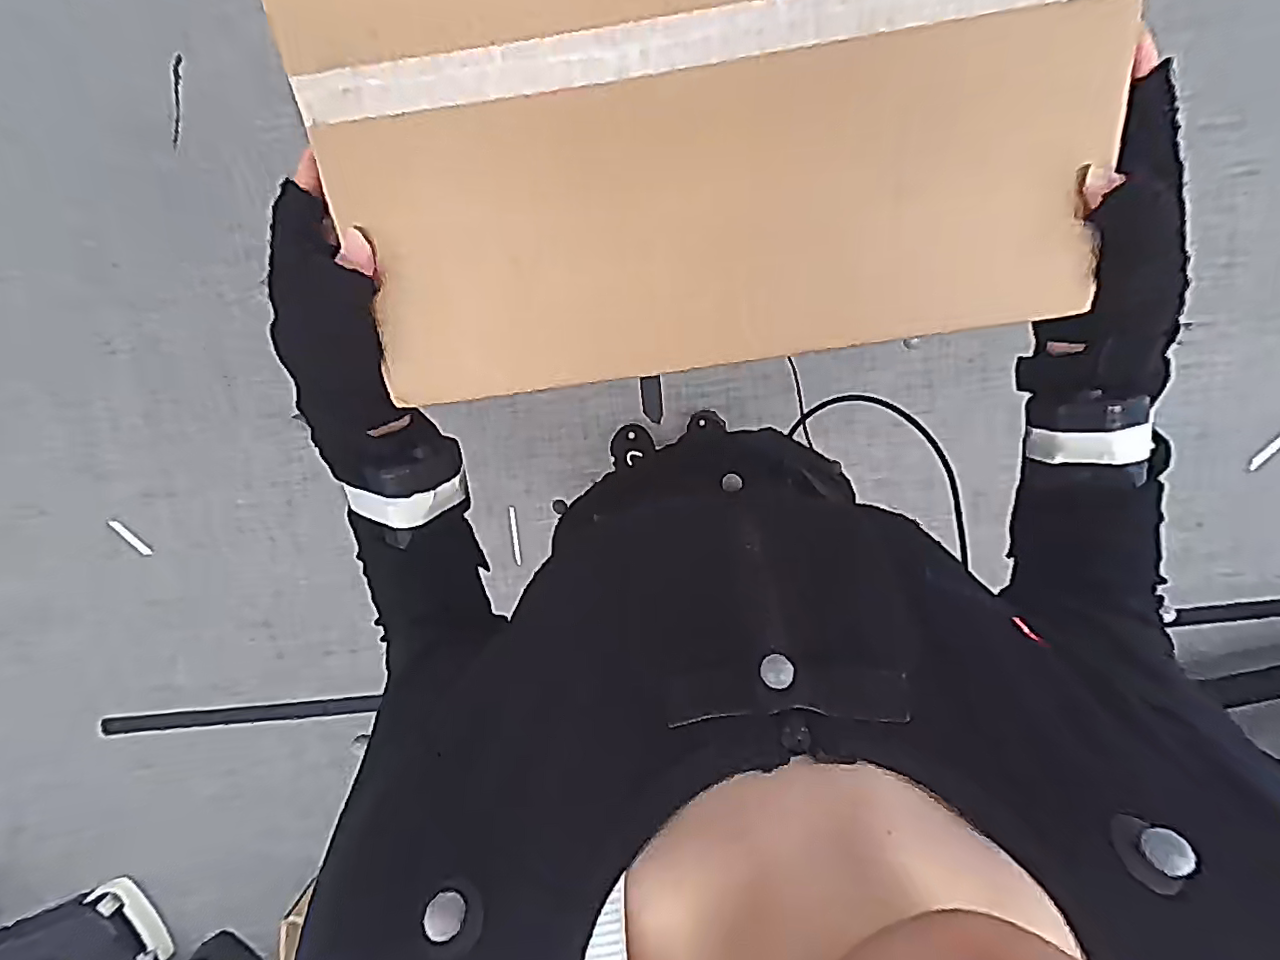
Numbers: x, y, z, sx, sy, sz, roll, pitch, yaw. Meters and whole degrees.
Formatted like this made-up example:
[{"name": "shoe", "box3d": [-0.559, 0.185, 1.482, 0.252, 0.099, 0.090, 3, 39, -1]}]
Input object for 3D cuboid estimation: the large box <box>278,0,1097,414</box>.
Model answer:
[{"name": "large box", "box3d": [0.028, -0.265, 0.410, 0.408, 0.320, 0.320, -8, 111, 2]}]
